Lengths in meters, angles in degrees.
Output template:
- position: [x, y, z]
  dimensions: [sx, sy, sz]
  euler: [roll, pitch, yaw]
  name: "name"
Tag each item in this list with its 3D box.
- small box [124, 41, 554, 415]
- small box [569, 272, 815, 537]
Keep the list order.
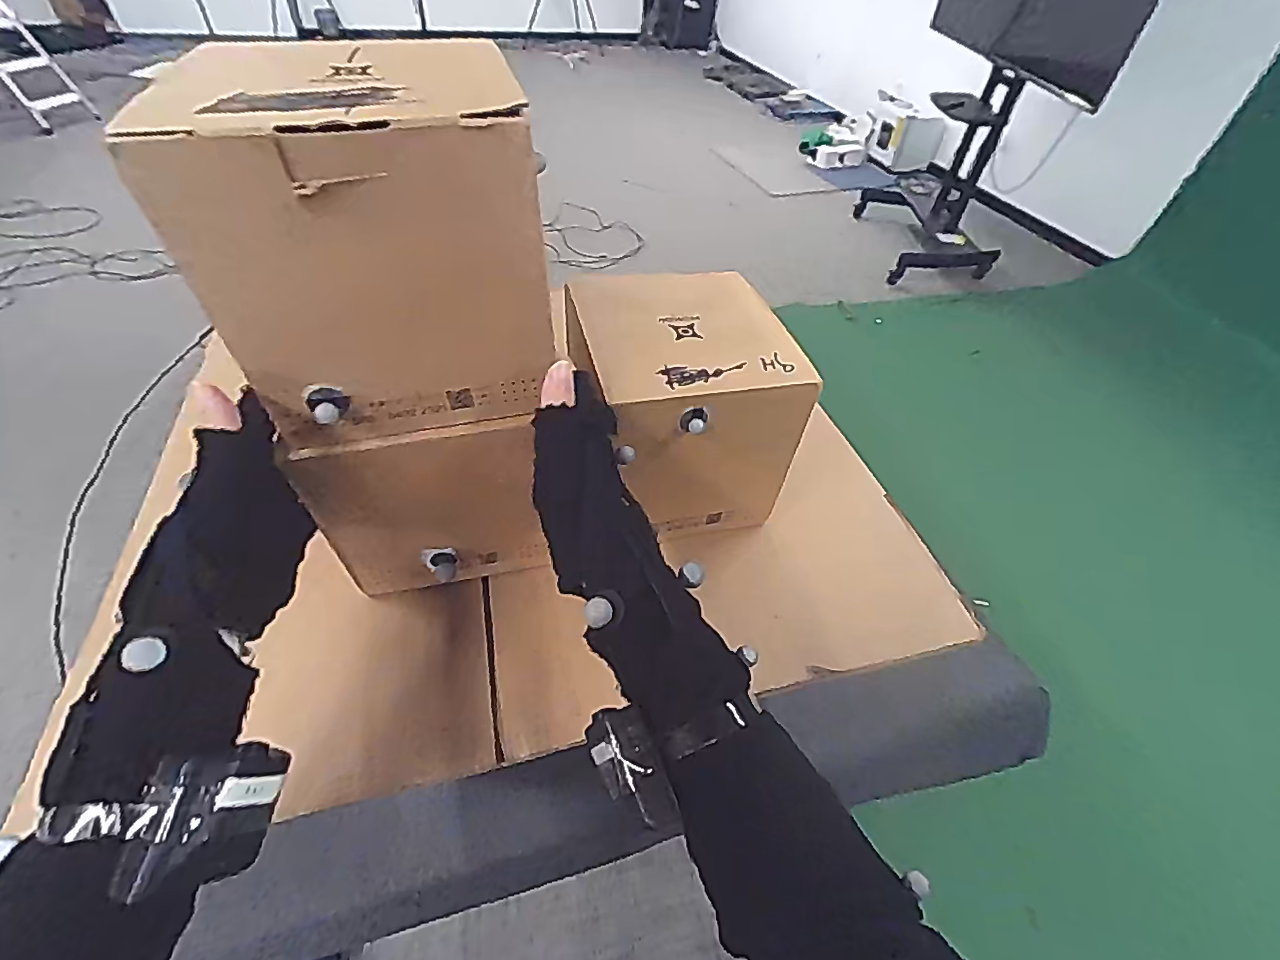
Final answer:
- position: [-0.154, -0.156, 0.345]
  dimensions: [0.168, 0.176, 0.179]
  euler: [-10, 48, -11]
  name: "small box"
- position: [0.027, -0.073, 0.501]
  dimensions: [0.168, 0.176, 0.179]
  euler: [-8, 48, -13]
  name: "small box"
